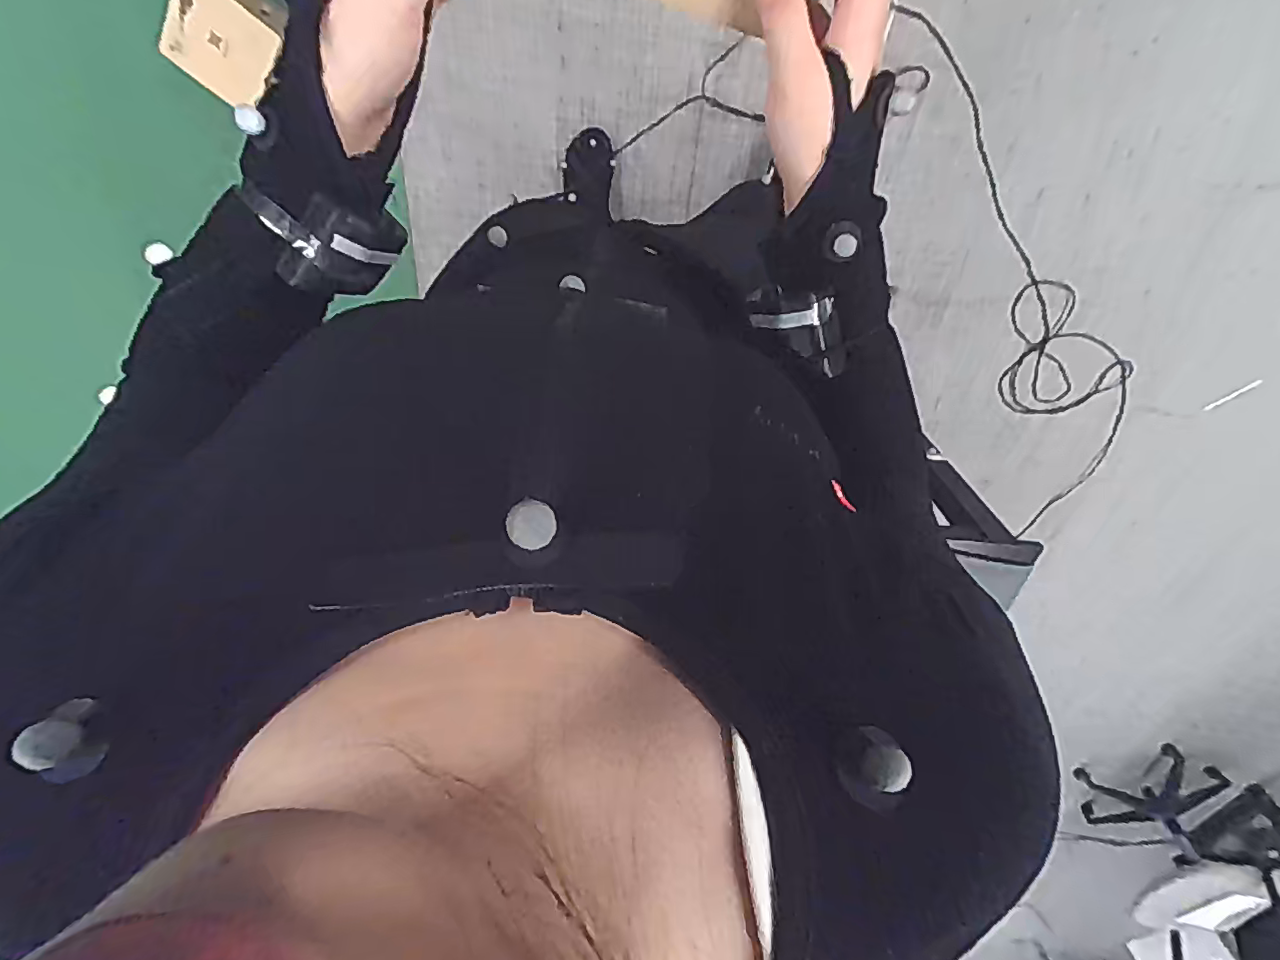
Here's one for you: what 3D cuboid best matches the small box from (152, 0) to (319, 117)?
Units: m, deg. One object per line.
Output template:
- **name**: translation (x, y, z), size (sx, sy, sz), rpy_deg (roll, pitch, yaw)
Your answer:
- **small box**: translation (-0.751, -0.830, 1.023), size (0.179, 0.176, 0.168), rpy_deg (35, 118, -21)
